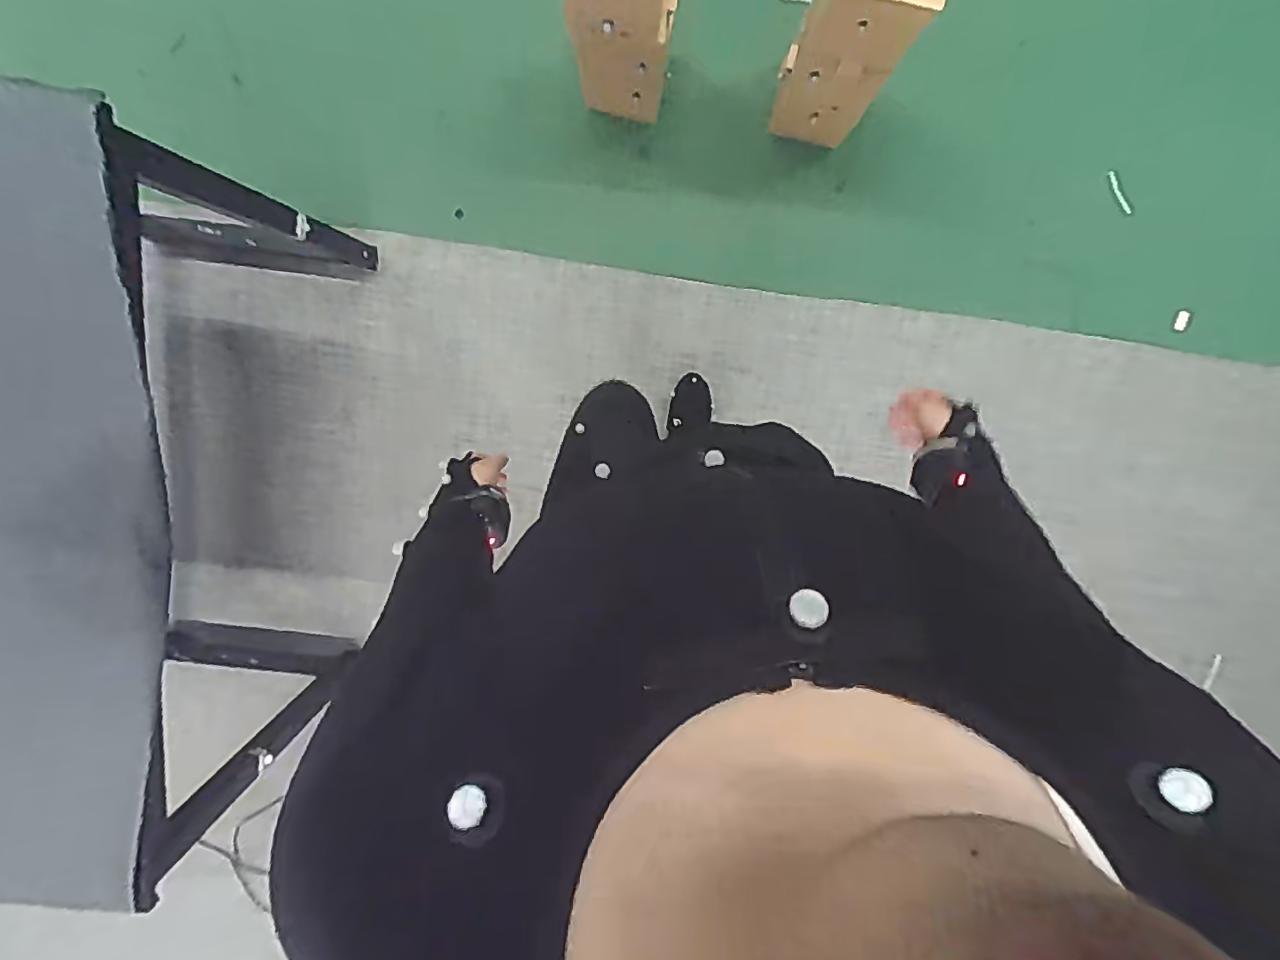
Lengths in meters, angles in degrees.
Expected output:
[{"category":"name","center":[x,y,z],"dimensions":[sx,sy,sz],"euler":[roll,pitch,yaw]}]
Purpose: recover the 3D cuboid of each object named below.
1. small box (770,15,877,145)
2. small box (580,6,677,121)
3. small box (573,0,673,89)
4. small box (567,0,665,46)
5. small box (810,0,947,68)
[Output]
[{"category":"small box","center":[0.414,-0.891,1.225],"dimensions":[0.179,0.176,0.168],"euler":[12,101,-2]},{"category":"small box","center":[-0.025,-0.942,1.213],"dimensions":[0.179,0.176,0.168],"euler":[14,100,-2]},{"category":"small box","center":[-0.028,-0.901,1.056],"dimensions":[0.179,0.176,0.168],"euler":[6,100,0]},{"category":"small box","center":[-0.034,-0.875,0.893],"dimensions":[0.168,0.176,0.179],"euler":[9,101,-2]},{"category":"small box","center":[0.403,-0.833,0.902],"dimensions":[0.179,0.176,0.168],"euler":[11,100,-1]}]
